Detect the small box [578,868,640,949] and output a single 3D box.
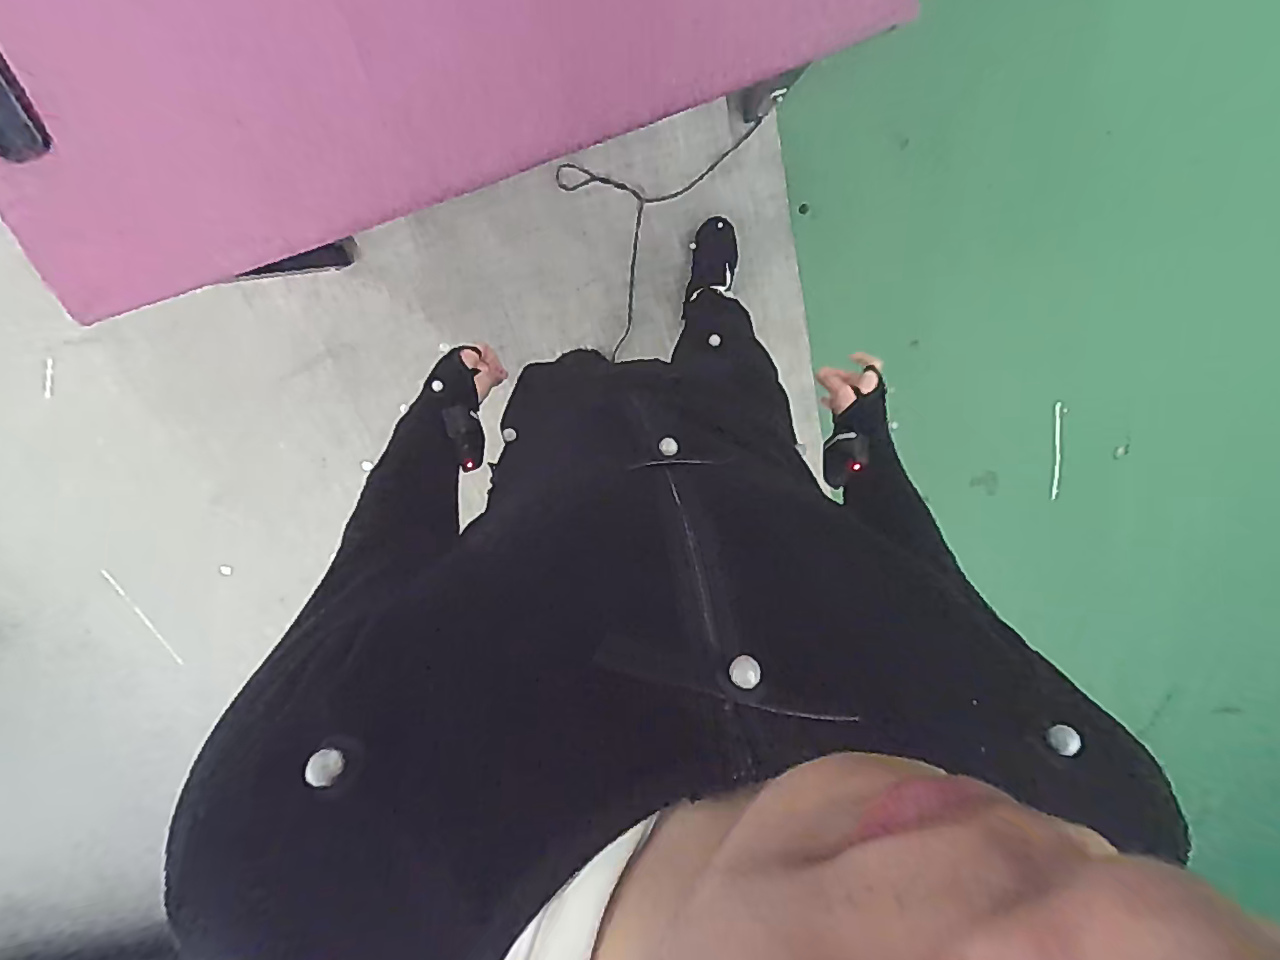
[{"bbox_3d":[-0.099,1.445,1.818,0.168,0.176,0.179,-9,112,8],"label":"small box"}]
